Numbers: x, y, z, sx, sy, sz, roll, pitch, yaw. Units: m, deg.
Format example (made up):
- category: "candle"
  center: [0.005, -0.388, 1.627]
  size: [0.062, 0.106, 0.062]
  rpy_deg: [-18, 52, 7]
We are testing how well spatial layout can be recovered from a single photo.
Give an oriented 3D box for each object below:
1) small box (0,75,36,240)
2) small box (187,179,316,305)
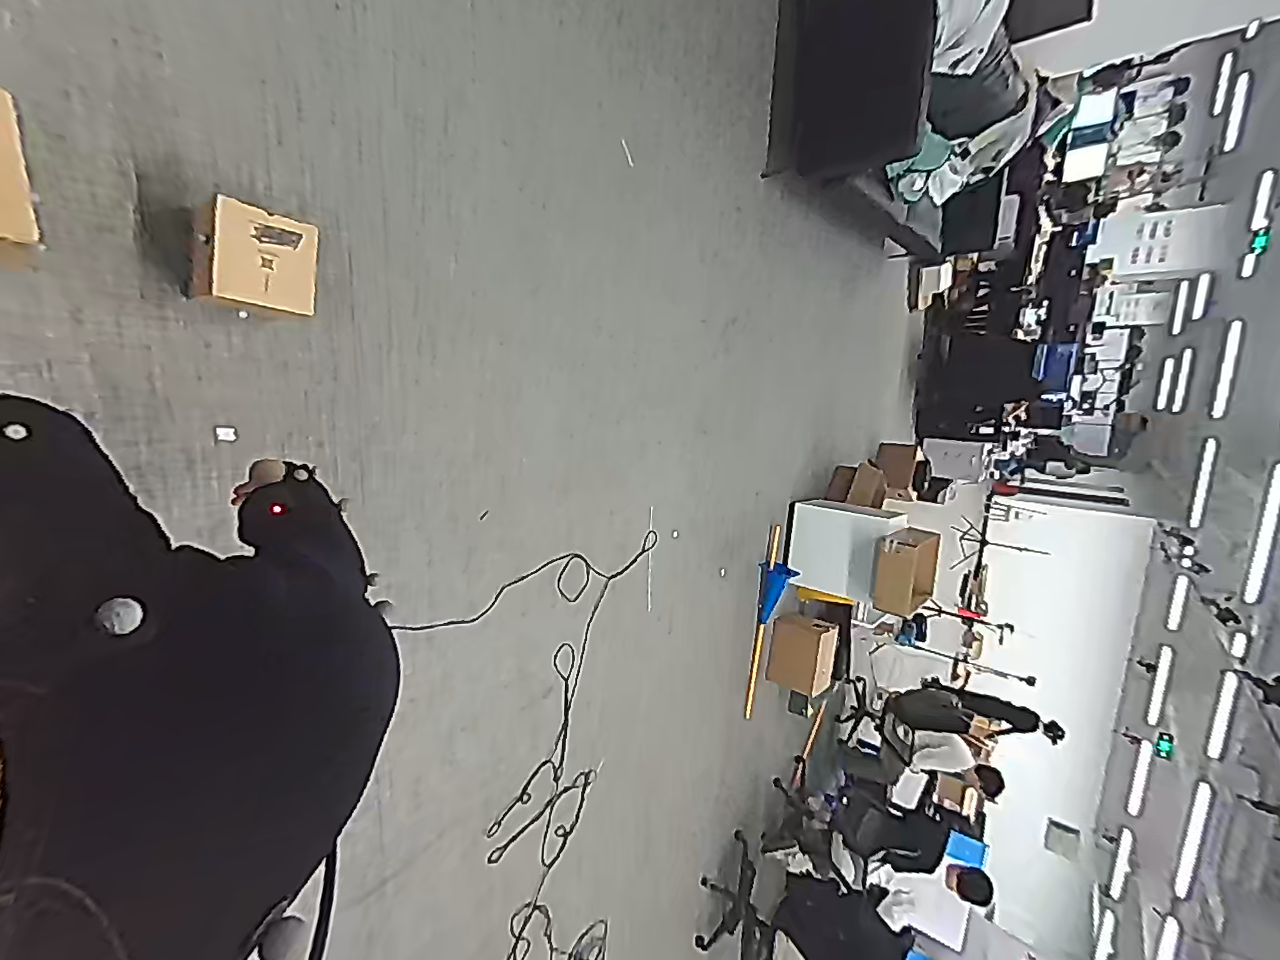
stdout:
- category: "small box"
  center: [-0.872, -0.401, 0.655]
  size: [0.168, 0.176, 0.179]
  rpy_deg: [-13, 110, -49]
- category: "small box"
  center: [-0.758, -0.450, 1.055]
  size: [0.168, 0.176, 0.179]
  rpy_deg: [-1, 100, -51]
